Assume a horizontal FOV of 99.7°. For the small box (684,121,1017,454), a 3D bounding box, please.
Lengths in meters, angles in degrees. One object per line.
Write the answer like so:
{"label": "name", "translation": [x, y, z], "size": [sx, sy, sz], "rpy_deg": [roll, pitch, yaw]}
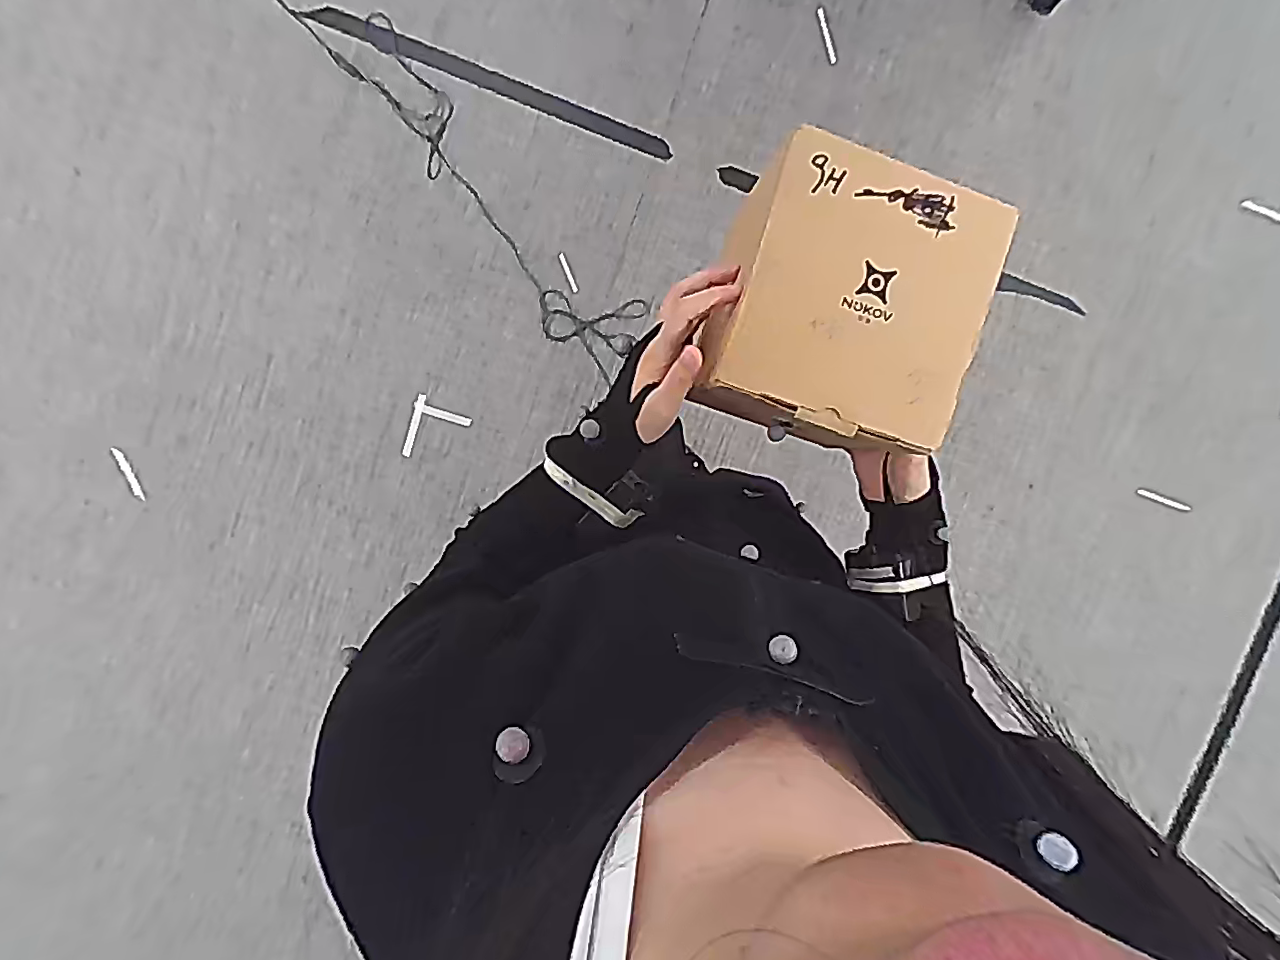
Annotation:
{"label": "small box", "translation": [0.143, -0.132, 0.438], "size": [0.168, 0.176, 0.179], "rpy_deg": [17, 95, -7]}
